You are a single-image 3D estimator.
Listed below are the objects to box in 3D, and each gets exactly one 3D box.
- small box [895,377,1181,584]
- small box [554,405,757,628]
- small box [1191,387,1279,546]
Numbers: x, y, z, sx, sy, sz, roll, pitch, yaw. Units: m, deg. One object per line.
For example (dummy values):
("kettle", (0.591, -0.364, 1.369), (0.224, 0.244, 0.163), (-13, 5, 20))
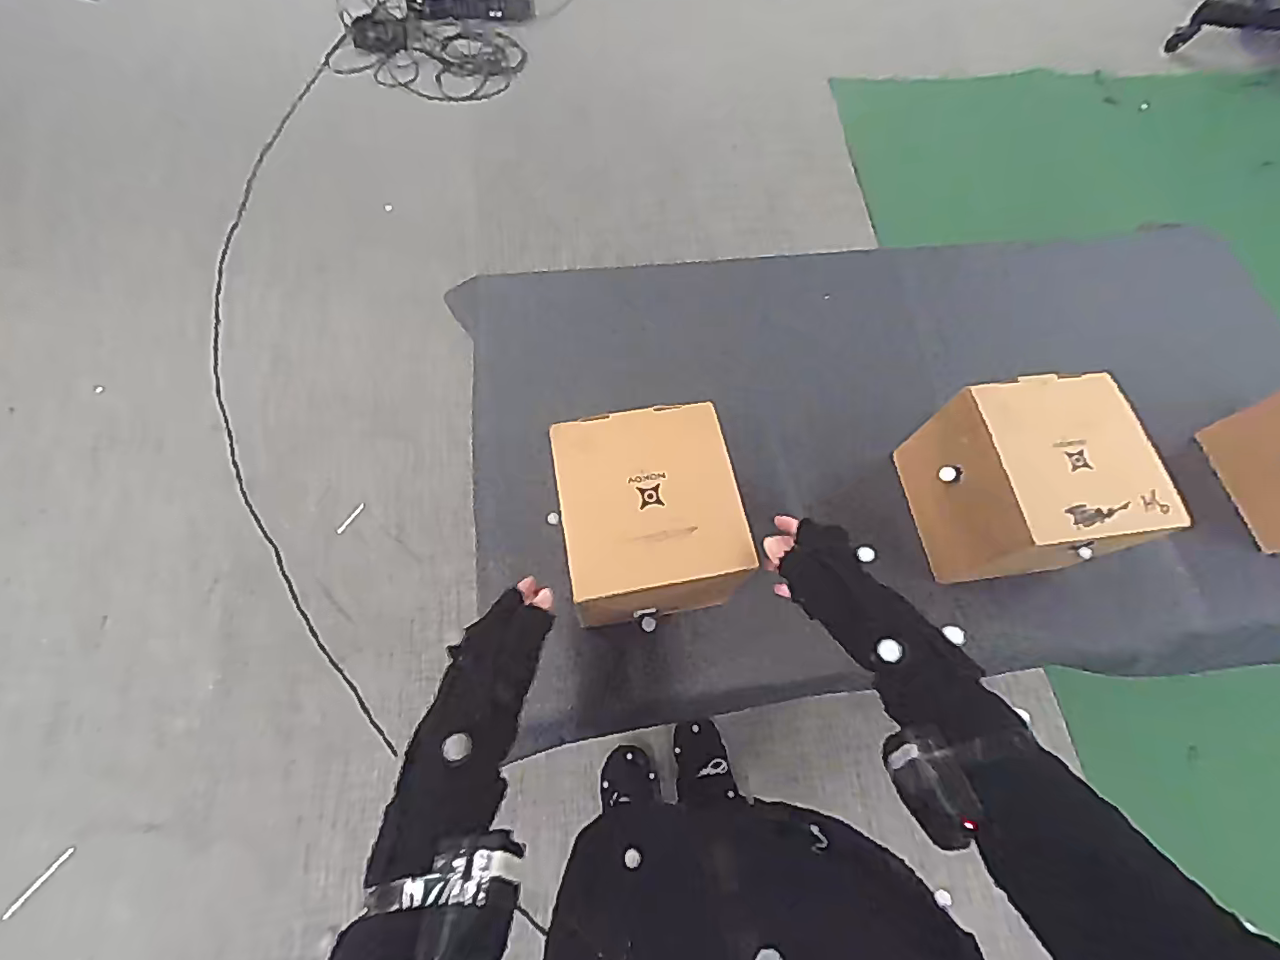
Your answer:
("small box", (0.424, 0.006, 0.617), (0.168, 0.176, 0.179), (-6, 67, -5))
("small box", (0.006, 0.045, 0.577), (0.168, 0.176, 0.179), (-10, 68, -6))
("small box", (0.849, -0.024, 0.648), (0.168, 0.176, 0.179), (-5, 66, -4))
